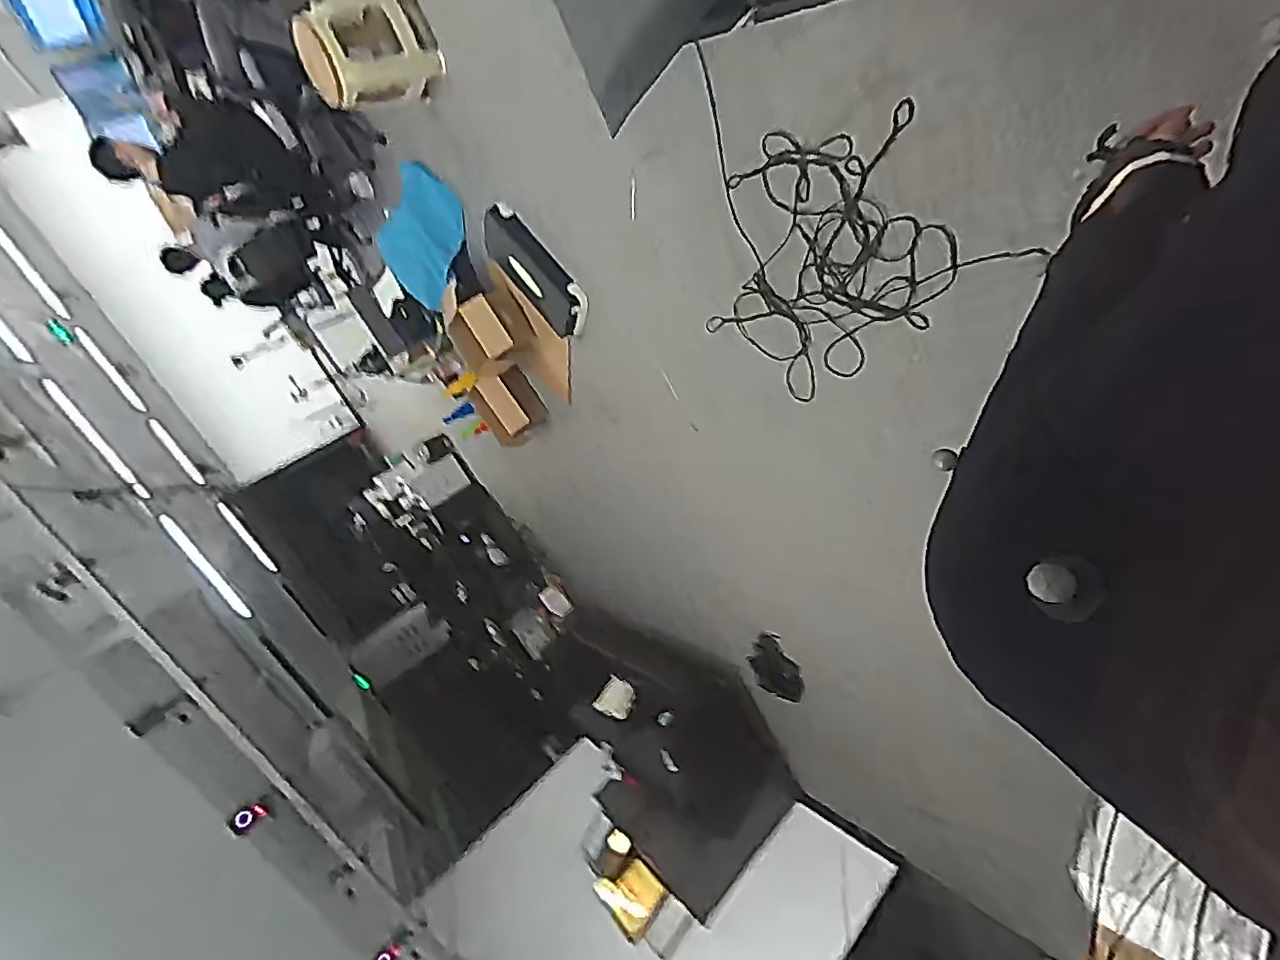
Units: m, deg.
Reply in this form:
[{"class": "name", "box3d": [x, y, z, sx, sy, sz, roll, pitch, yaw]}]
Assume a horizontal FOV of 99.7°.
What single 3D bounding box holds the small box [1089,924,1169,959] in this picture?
[{"class": "small box", "box3d": [1.065, 1.103, 1.137, 0.179, 0.176, 0.168, 60, 155, -15]}]
